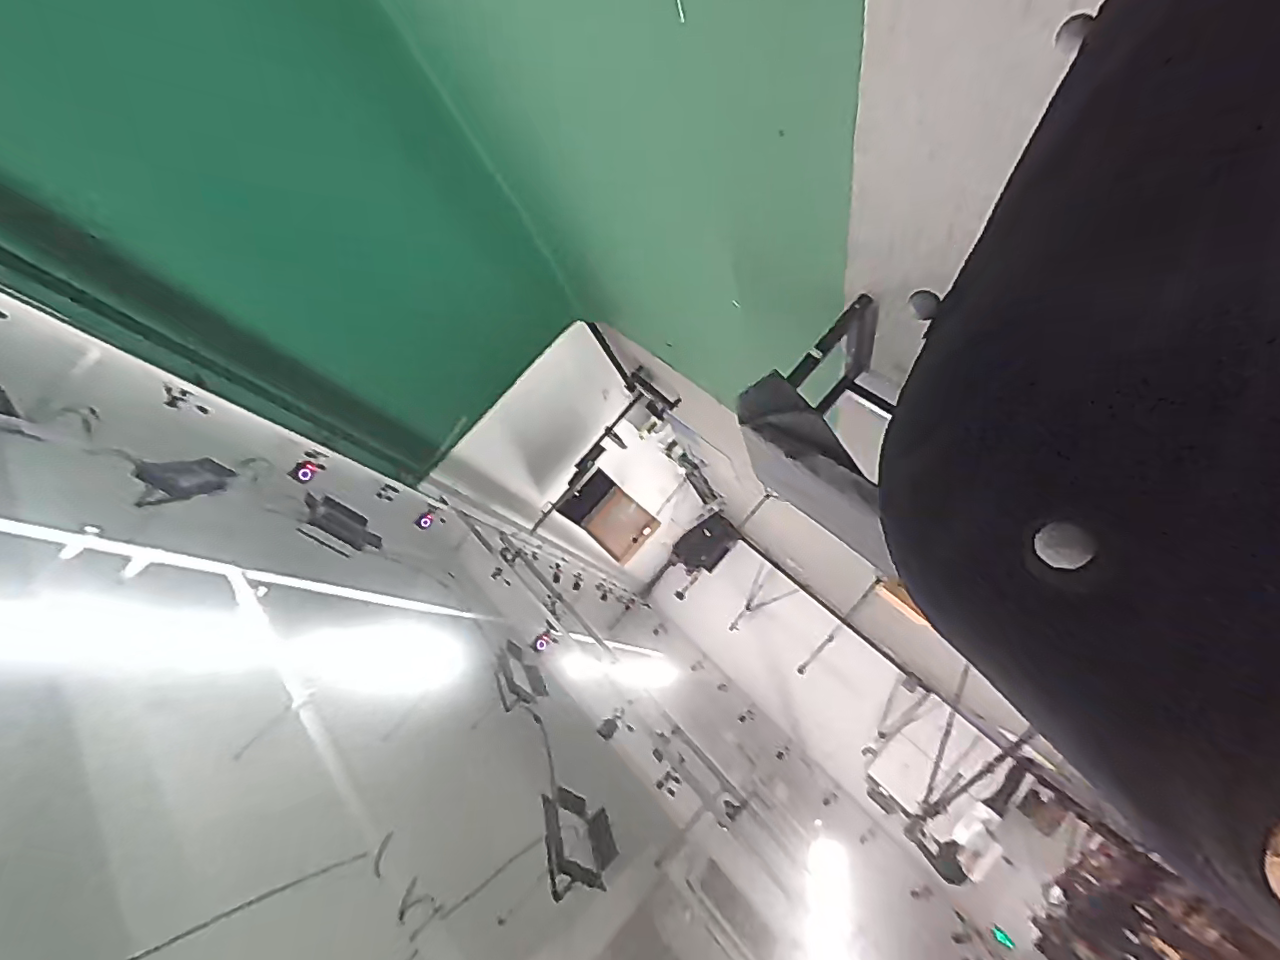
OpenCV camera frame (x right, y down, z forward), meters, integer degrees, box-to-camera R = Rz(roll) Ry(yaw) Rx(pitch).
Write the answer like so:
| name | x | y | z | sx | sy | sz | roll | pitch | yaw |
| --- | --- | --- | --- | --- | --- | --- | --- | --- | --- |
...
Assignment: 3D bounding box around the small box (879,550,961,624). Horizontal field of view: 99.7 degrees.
| name | x | y | z | sx | sy | sz | roll | pitch | yaw |
| --- | --- | --- | --- | --- | --- | --- | --- | --- | --- |
| small box | 0.951 | 0.366 | 1.839 | 0.179 | 0.176 | 0.168 | 42 | 178 | 25 |
